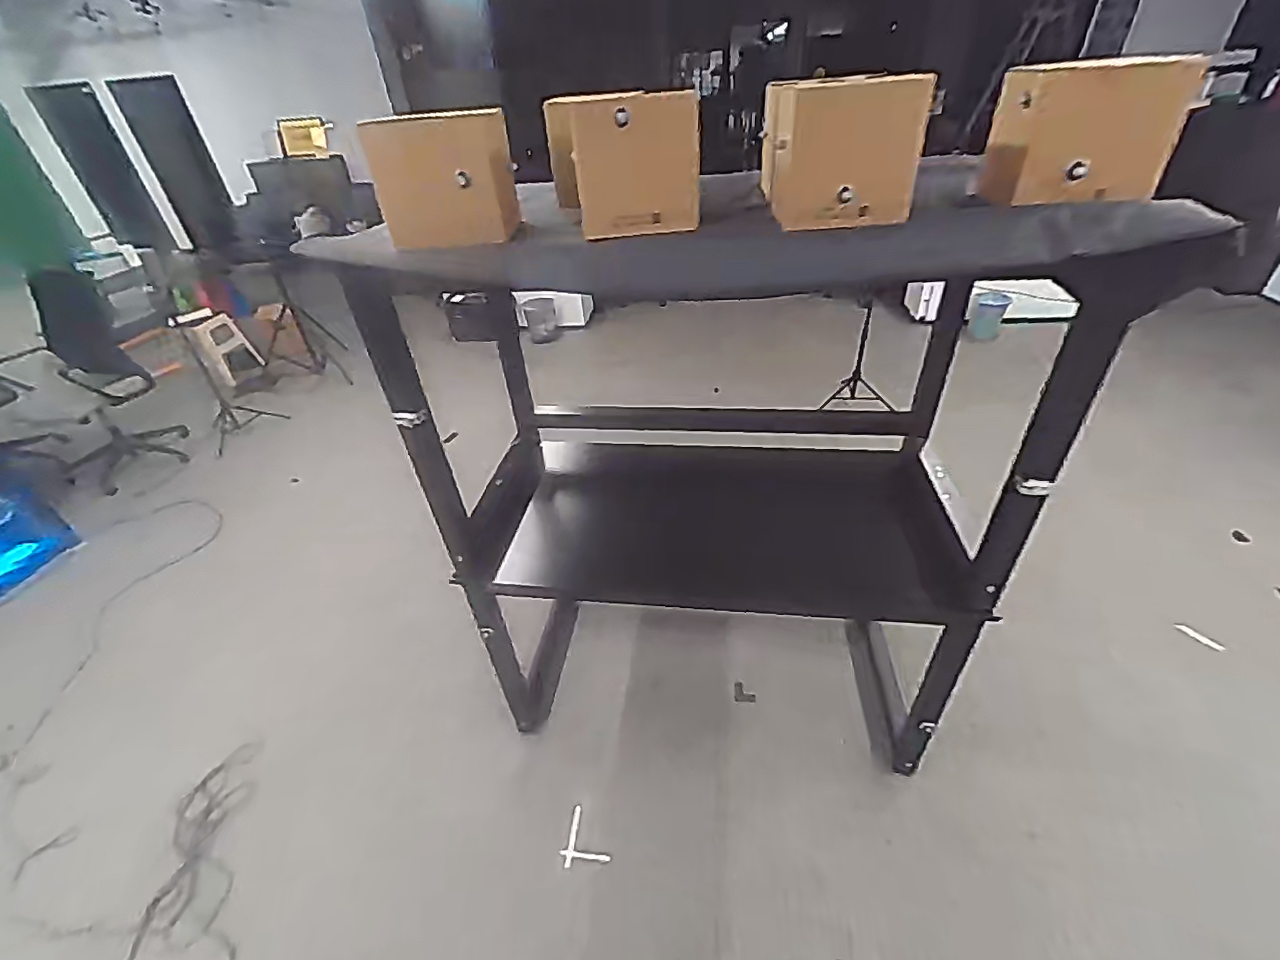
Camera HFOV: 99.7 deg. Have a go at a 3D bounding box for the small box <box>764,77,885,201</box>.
[{"bbox_3d":[0.312,-0.596,0.953,0.168,0.176,0.179,0,36,7],"label":"small box"}]

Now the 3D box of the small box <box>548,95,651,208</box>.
[{"bbox_3d":[-0.069,-0.632,1.041,0.168,0.176,0.179,0,38,6],"label":"small box"}]

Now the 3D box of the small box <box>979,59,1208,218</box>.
[{"bbox_3d":[0.605,-0.475,0.757,0.168,0.176,0.179,4,38,13],"label":"small box"}]

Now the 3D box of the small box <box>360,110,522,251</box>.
[{"bbox_3d":[-0.290,-0.465,0.839,0.179,0.176,0.168,-3,36,1],"label":"small box"}]
